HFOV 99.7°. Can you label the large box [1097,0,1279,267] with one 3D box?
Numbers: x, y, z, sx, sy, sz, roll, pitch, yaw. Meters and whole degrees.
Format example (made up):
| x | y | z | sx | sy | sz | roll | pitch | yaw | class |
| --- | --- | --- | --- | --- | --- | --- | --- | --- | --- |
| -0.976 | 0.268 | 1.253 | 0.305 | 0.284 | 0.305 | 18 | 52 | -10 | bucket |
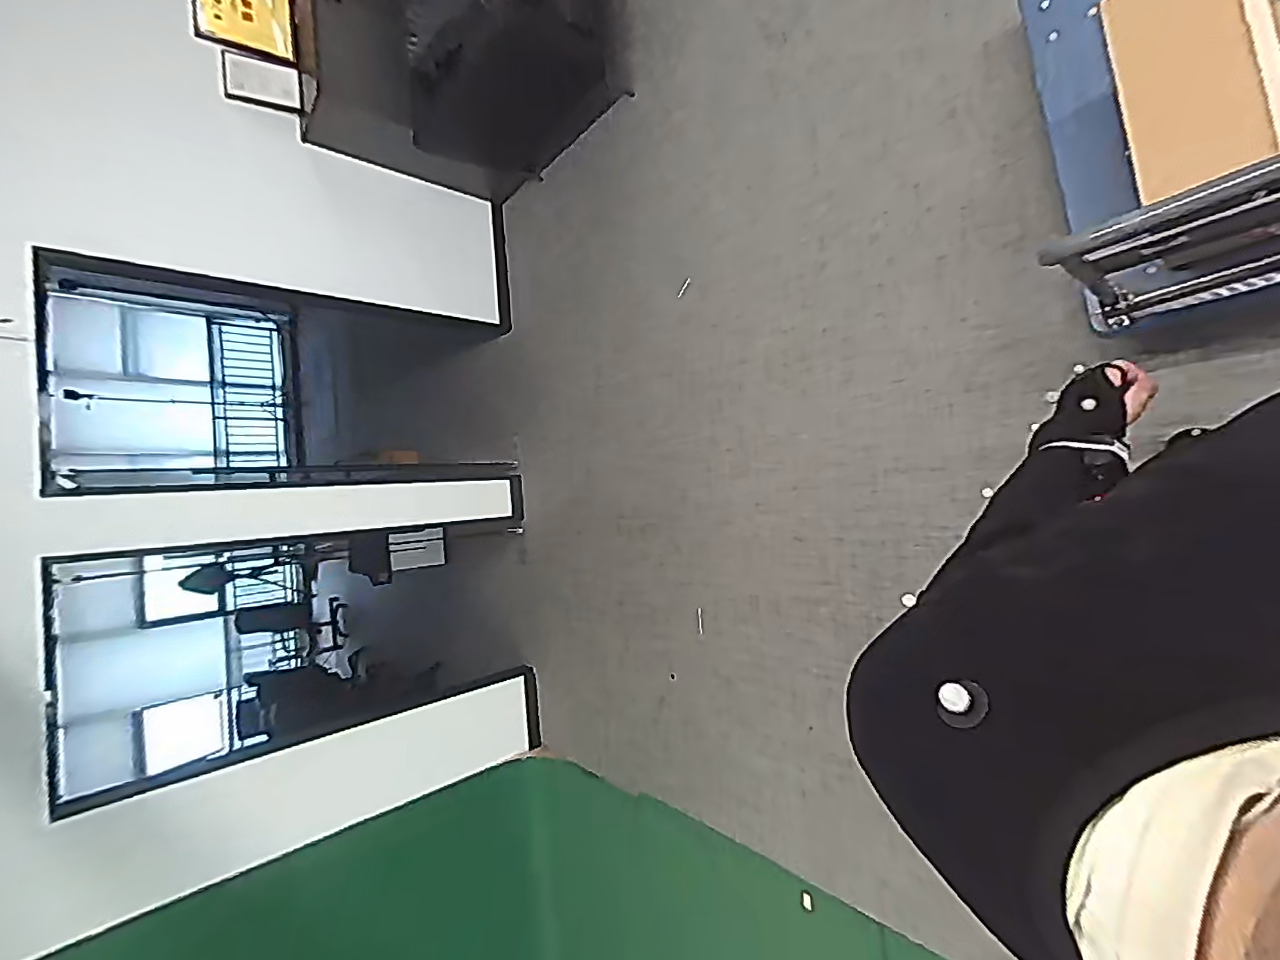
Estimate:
| x | y | z | sx | sy | sz | roll | pitch | yaw | class |
| --- | --- | --- | --- | --- | --- | --- | --- | --- | --- |
| 1.012 | -0.630 | 0.877 | 0.320 | 0.320 | 0.408 | -13 | 81 | 48 | large box |
